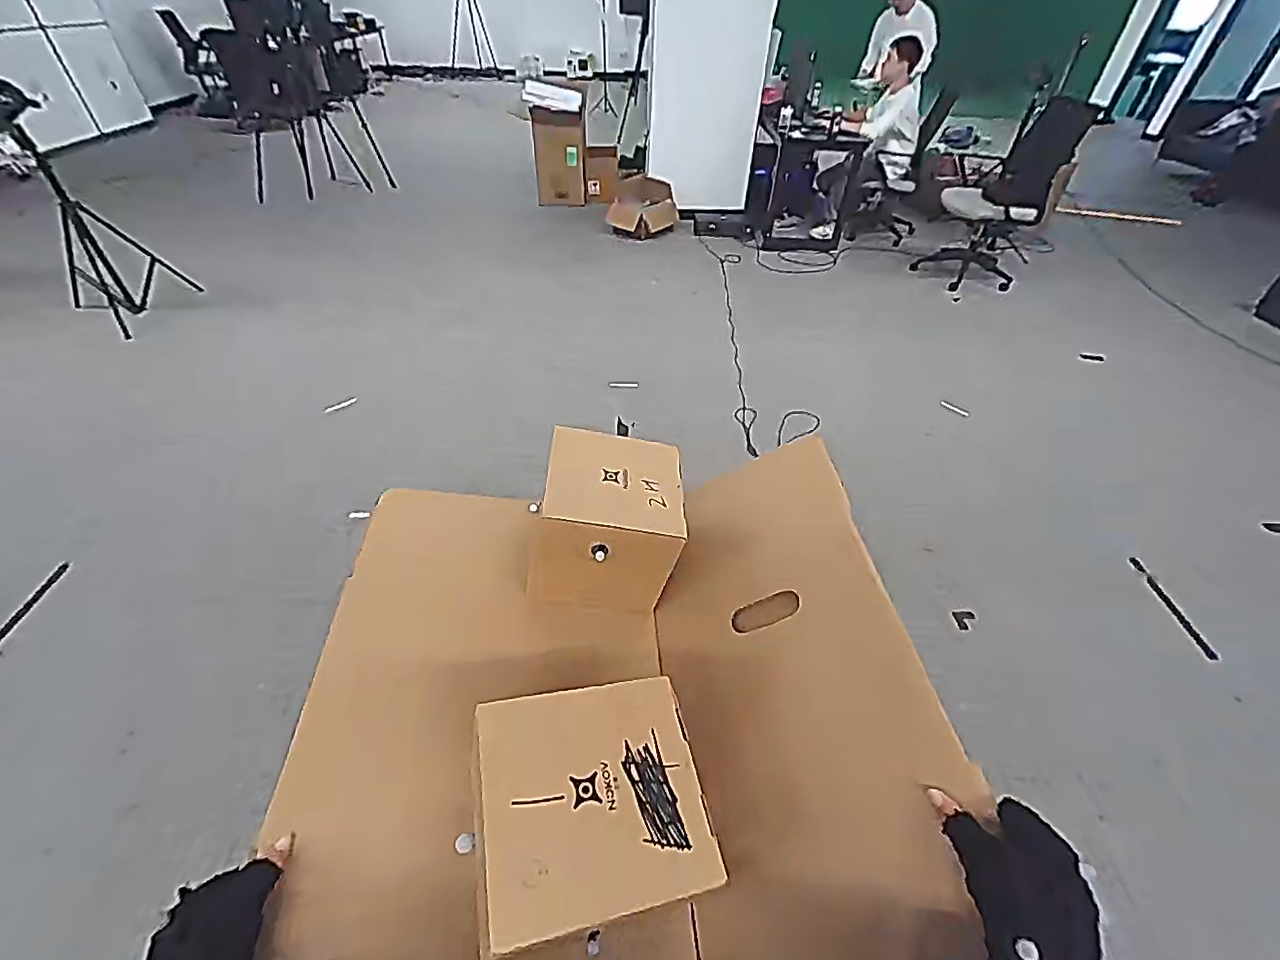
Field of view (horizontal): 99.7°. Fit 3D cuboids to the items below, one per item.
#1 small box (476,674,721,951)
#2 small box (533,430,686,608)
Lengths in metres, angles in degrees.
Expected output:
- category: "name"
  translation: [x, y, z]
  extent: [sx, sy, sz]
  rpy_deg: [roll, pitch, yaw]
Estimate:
- category: "small box"
  translation: [-0.054, 0.301, 0.497]
  extent: [0.179, 0.176, 0.168]
  rpy_deg: [-1, 46, -19]
- category: "small box"
  translation: [-0.047, 0.059, 0.749]
  extent: [0.179, 0.176, 0.168]
  rpy_deg: [11, 44, -10]
